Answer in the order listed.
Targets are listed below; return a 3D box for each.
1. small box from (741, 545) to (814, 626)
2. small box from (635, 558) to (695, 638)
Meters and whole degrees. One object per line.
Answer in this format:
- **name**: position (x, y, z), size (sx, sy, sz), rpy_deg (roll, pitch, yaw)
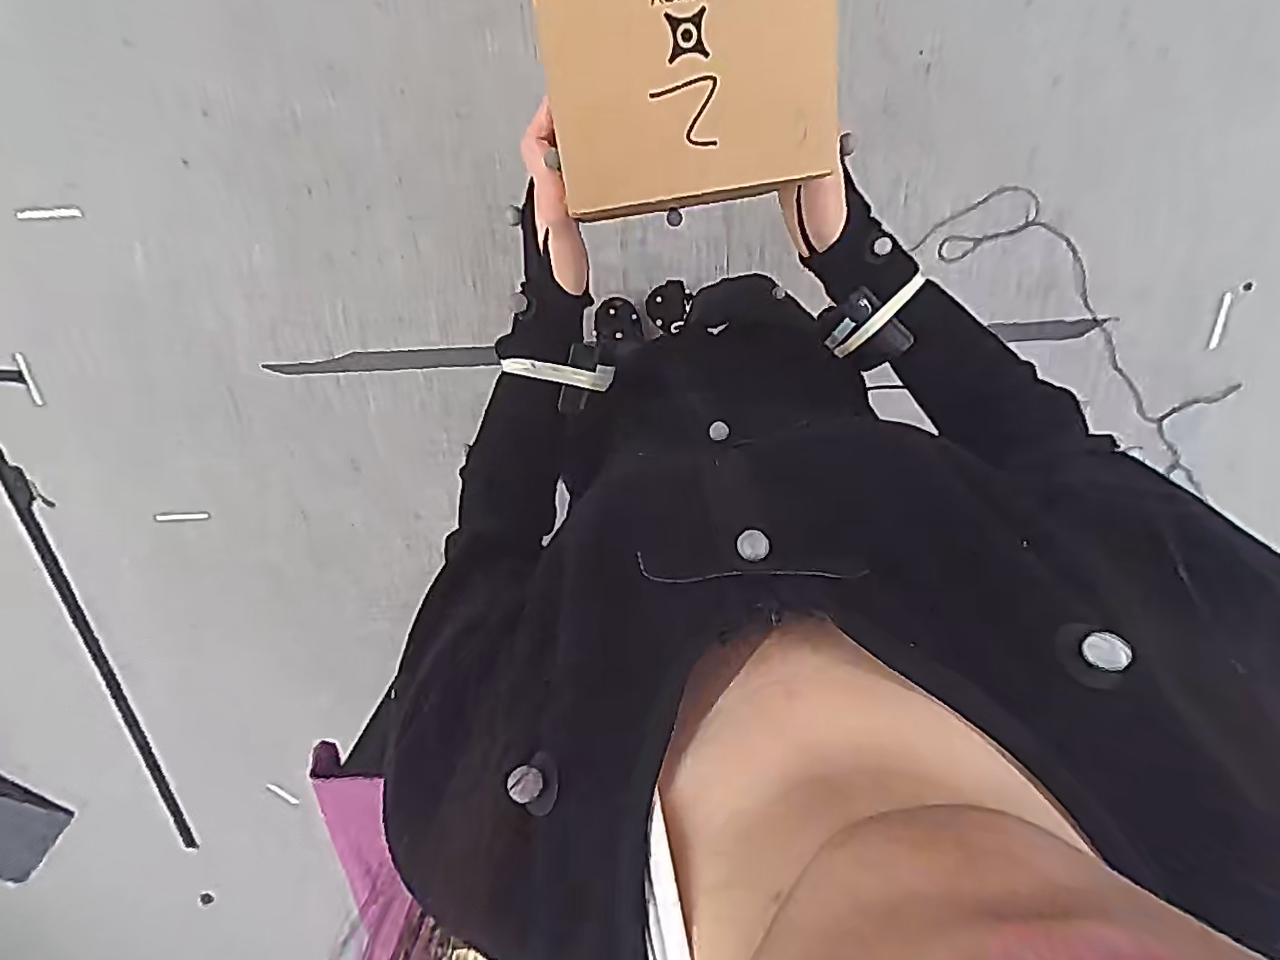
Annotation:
- **small box**: position (0.390, 0.298, 1.564), size (0.168, 0.176, 0.179), rpy_deg (-3, 111, 0)
- **small box**: position (0.069, 0.338, 1.577), size (0.168, 0.176, 0.179), rpy_deg (-2, 111, 1)
